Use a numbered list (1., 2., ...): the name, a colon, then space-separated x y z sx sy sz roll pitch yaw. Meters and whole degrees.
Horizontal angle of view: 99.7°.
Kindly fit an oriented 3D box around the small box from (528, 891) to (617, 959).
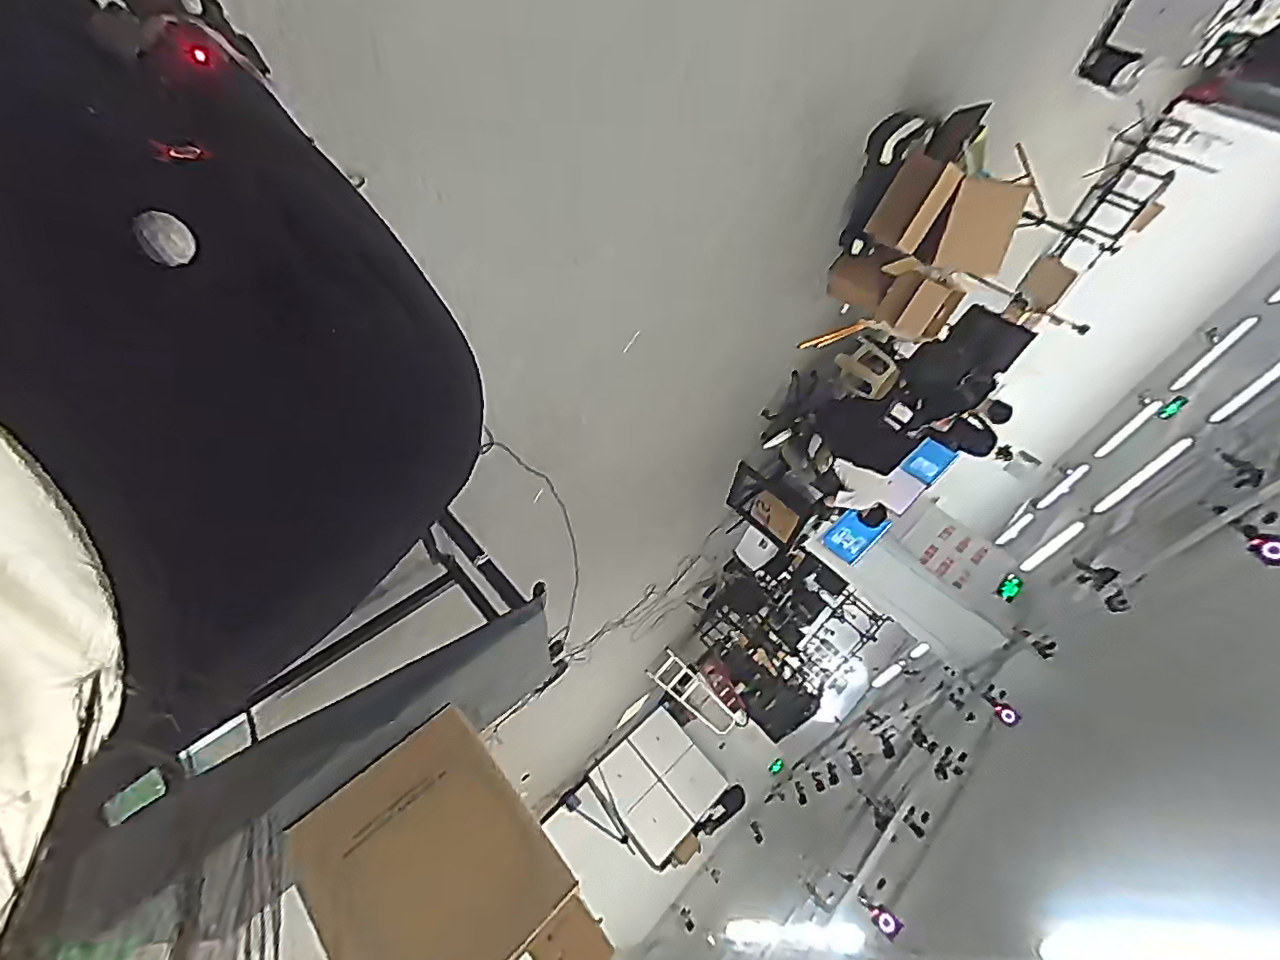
1. small box: -0.178 1.227 1.428 0.168 0.176 0.179 -36 152 -25
